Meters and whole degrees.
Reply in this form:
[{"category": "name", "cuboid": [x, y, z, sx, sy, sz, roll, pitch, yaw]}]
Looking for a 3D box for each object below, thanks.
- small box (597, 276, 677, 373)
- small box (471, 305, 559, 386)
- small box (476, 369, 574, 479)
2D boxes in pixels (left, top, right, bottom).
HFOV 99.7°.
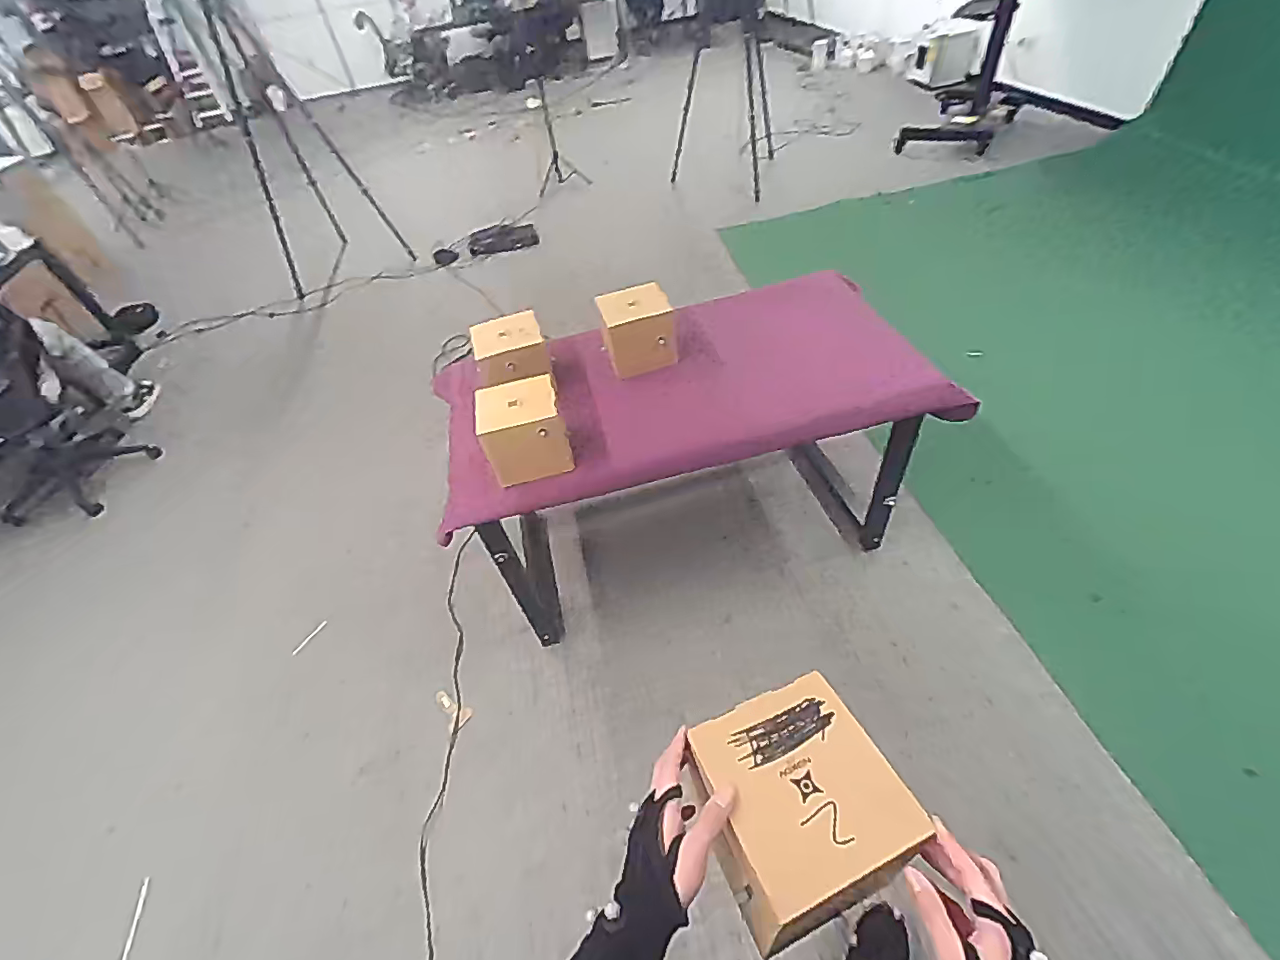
[{"category": "small box", "cuboid": [-0.003, -0.417, 1.456, 0.179, 0.176, 0.168, -16, 48, -4]}, {"category": "small box", "cuboid": [-0.328, -0.329, 1.432, 0.179, 0.176, 0.168, -17, 49, -6]}, {"category": "small box", "cuboid": [-0.261, -0.124, 1.238, 0.179, 0.176, 0.168, -14, 46, -4]}]
